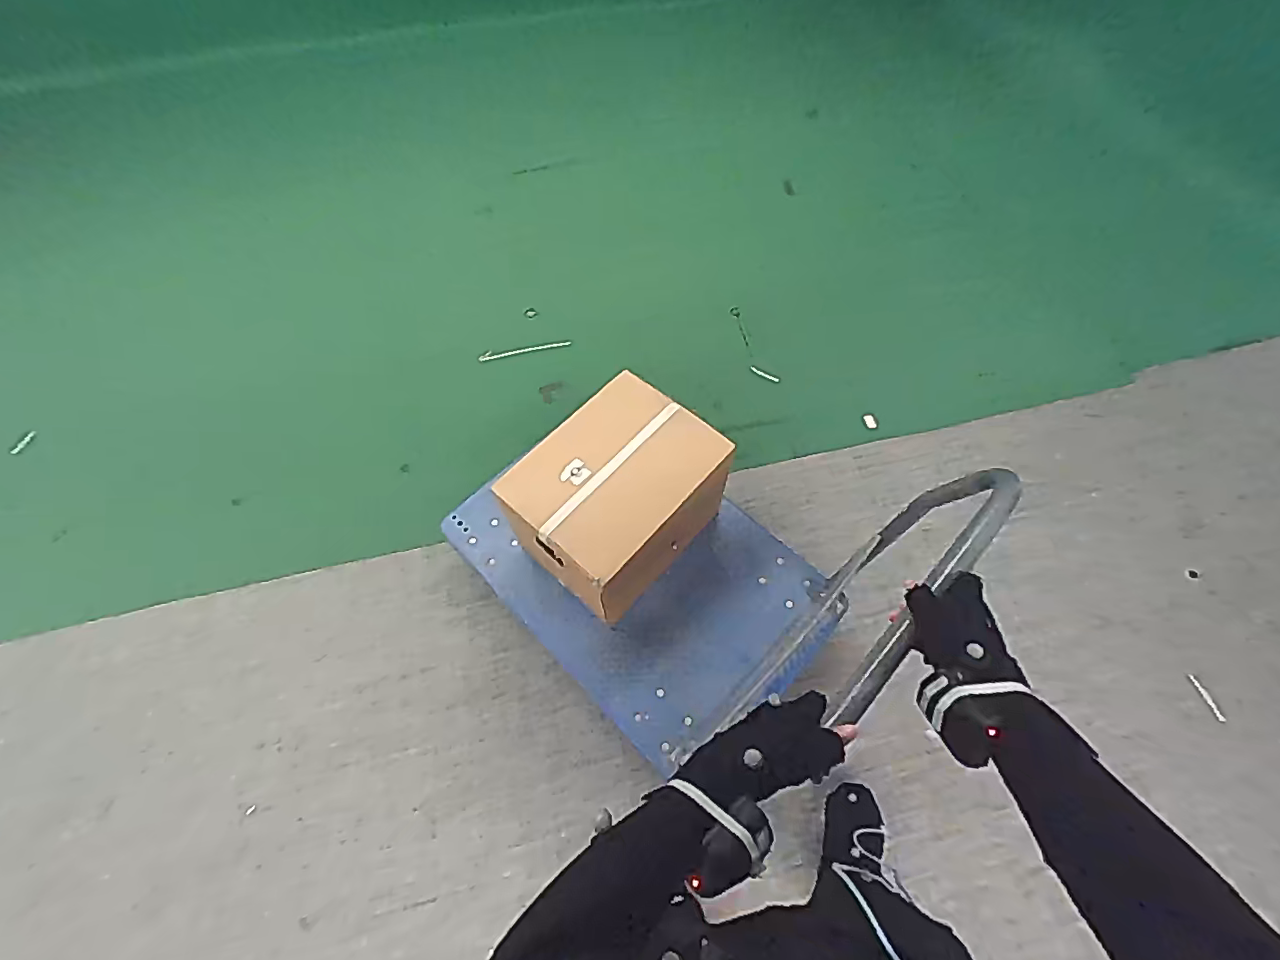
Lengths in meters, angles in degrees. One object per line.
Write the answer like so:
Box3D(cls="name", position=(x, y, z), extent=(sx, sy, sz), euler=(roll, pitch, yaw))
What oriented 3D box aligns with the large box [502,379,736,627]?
Box3D(cls="large box", position=(-0.035, 0.057, 1.234), extent=(0.320, 0.320, 0.408), euler=(37, 68, 20))
